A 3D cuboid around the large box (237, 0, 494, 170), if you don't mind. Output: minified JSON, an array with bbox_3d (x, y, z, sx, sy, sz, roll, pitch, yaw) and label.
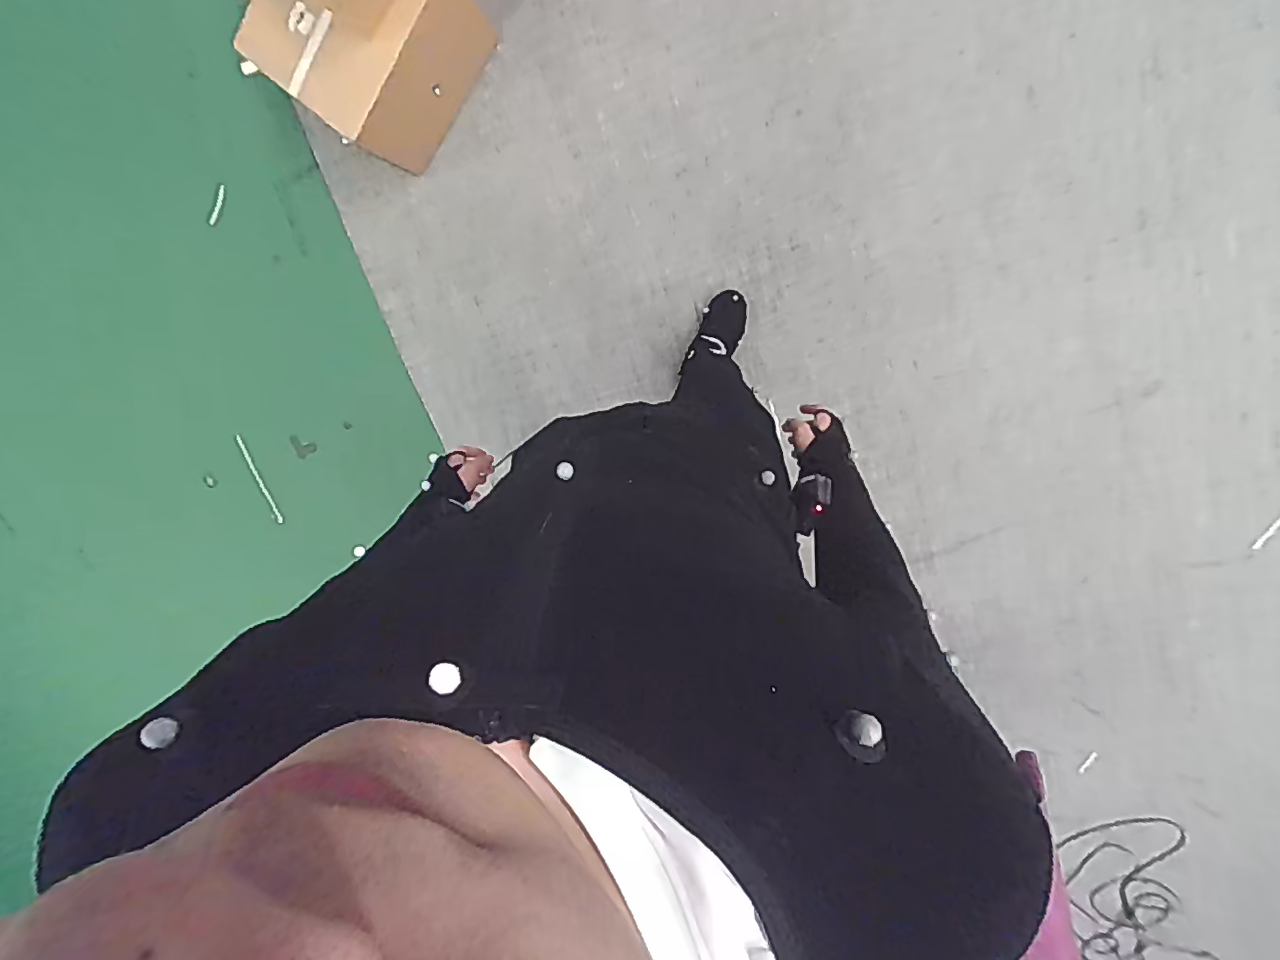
[{"bbox_3d":[-0.608,-1.025,1.247,0.320,0.320,0.408,38,108,-5],"label":"large box"}]
